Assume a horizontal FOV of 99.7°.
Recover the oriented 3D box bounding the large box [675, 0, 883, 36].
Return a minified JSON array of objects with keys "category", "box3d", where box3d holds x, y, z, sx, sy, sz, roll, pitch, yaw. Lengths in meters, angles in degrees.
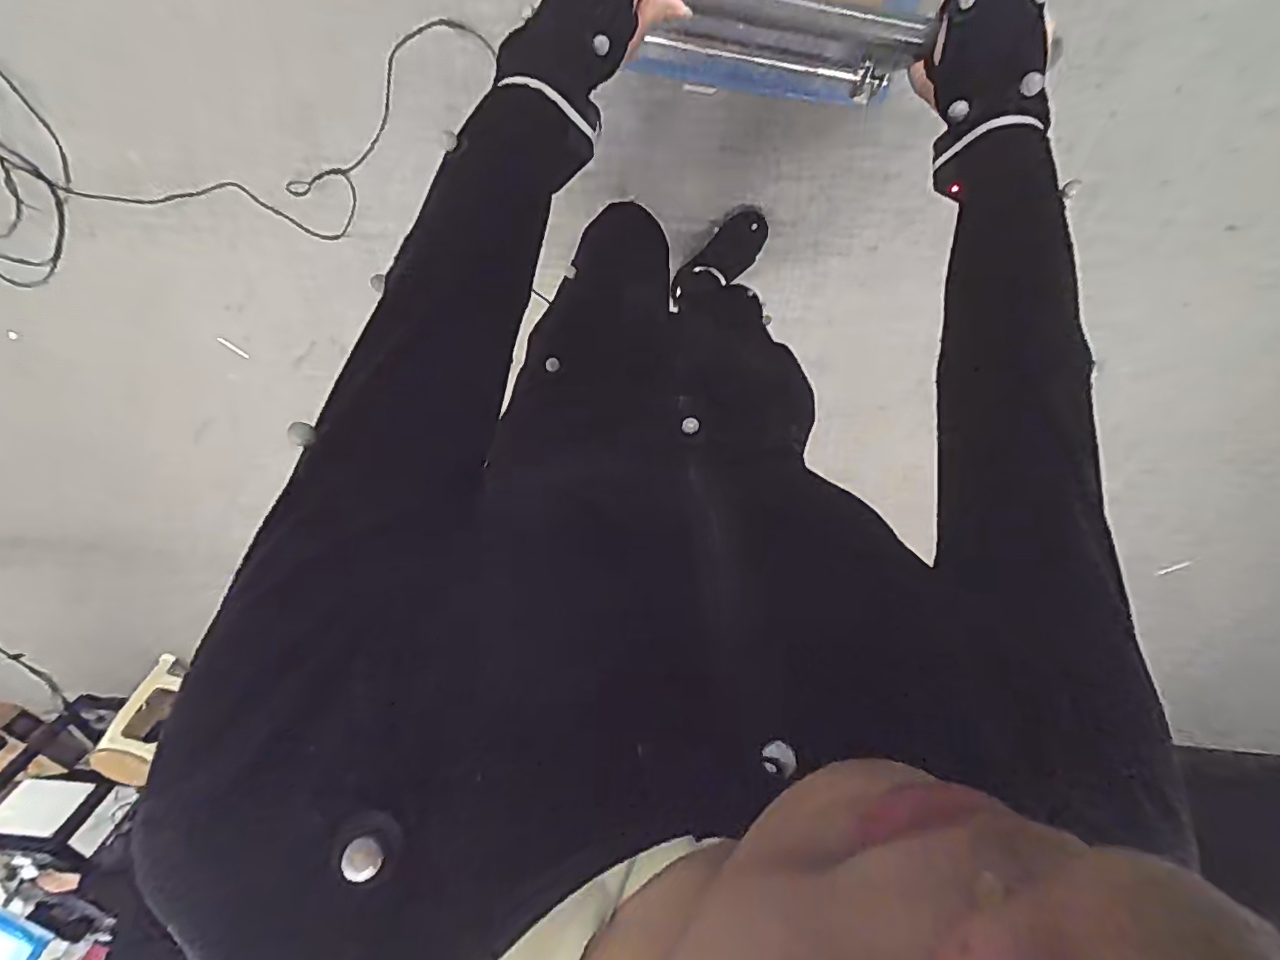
[{"category":"large box","box3d":[0.223,-0.918,0.762,0.320,0.320,0.408,9,124,-1]}]
